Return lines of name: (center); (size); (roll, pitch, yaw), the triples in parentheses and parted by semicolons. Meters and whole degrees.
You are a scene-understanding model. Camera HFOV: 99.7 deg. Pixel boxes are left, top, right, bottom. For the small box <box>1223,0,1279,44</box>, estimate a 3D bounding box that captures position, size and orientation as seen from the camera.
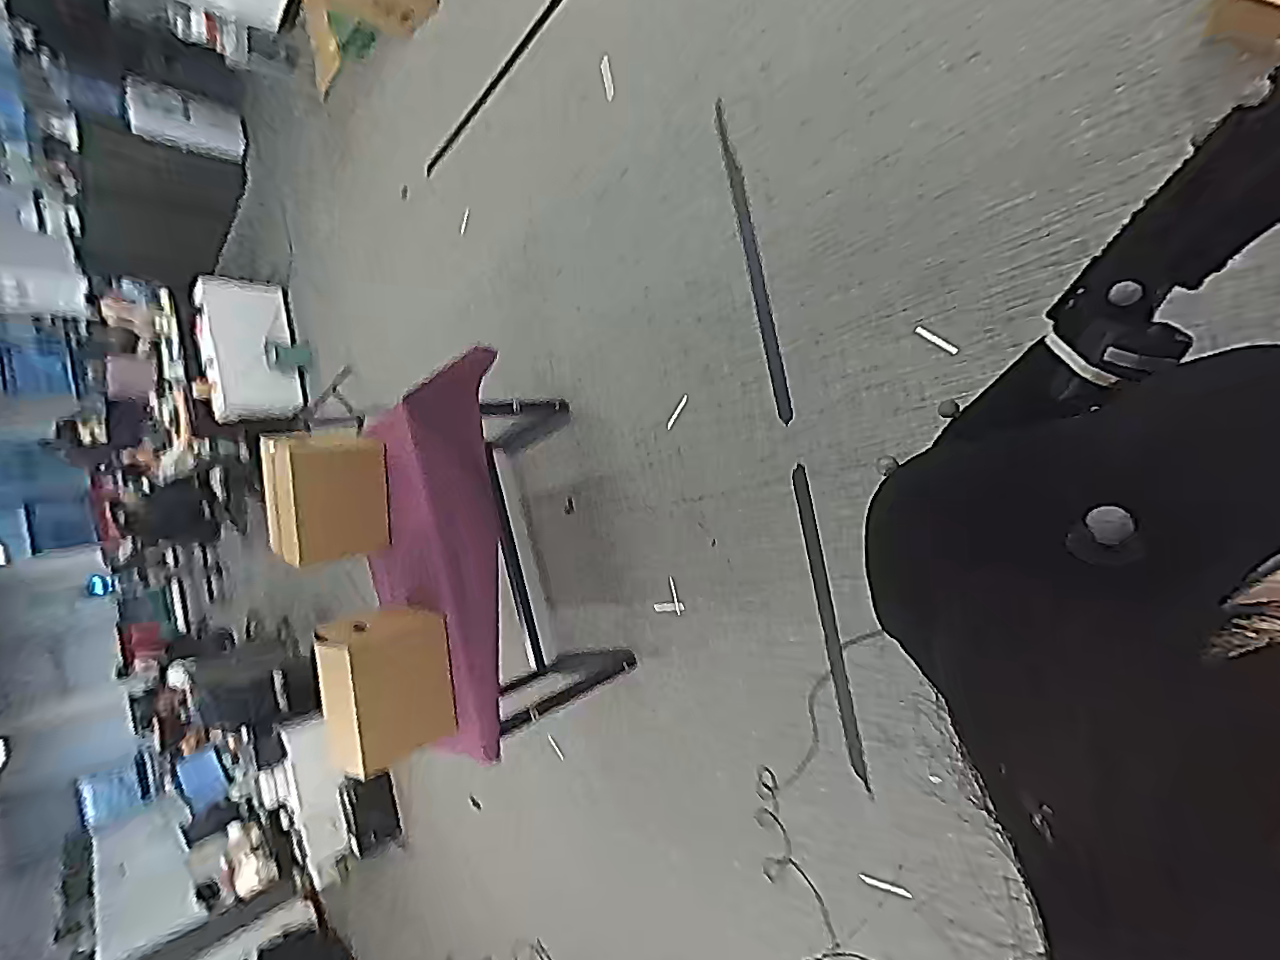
small box: (1.099, -0.830, 0.857); (0.179, 0.176, 0.168); (50, 125, 27)
